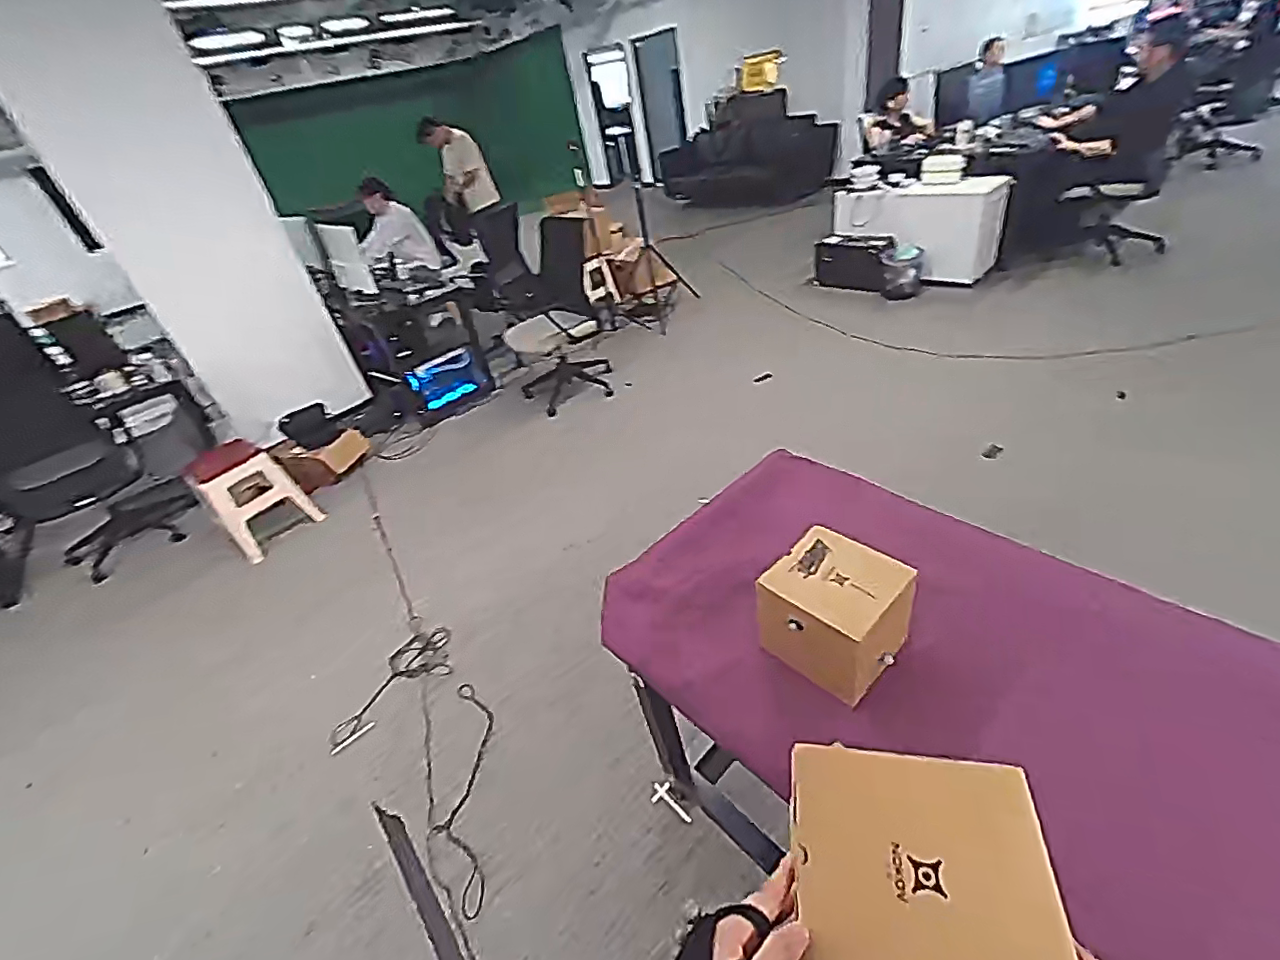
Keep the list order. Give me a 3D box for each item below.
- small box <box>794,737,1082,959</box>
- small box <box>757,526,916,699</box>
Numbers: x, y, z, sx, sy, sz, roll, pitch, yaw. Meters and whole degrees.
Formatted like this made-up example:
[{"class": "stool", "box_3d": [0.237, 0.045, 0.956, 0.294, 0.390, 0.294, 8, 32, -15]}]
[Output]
[{"class": "small box", "box_3d": [0.219, 0.336, 0.445, 0.179, 0.176, 0.168, -1, 45, 16]}, {"class": "small box", "box_3d": [0.309, 0.211, 0.867, 0.168, 0.176, 0.179, -36, 42, -27]}]
